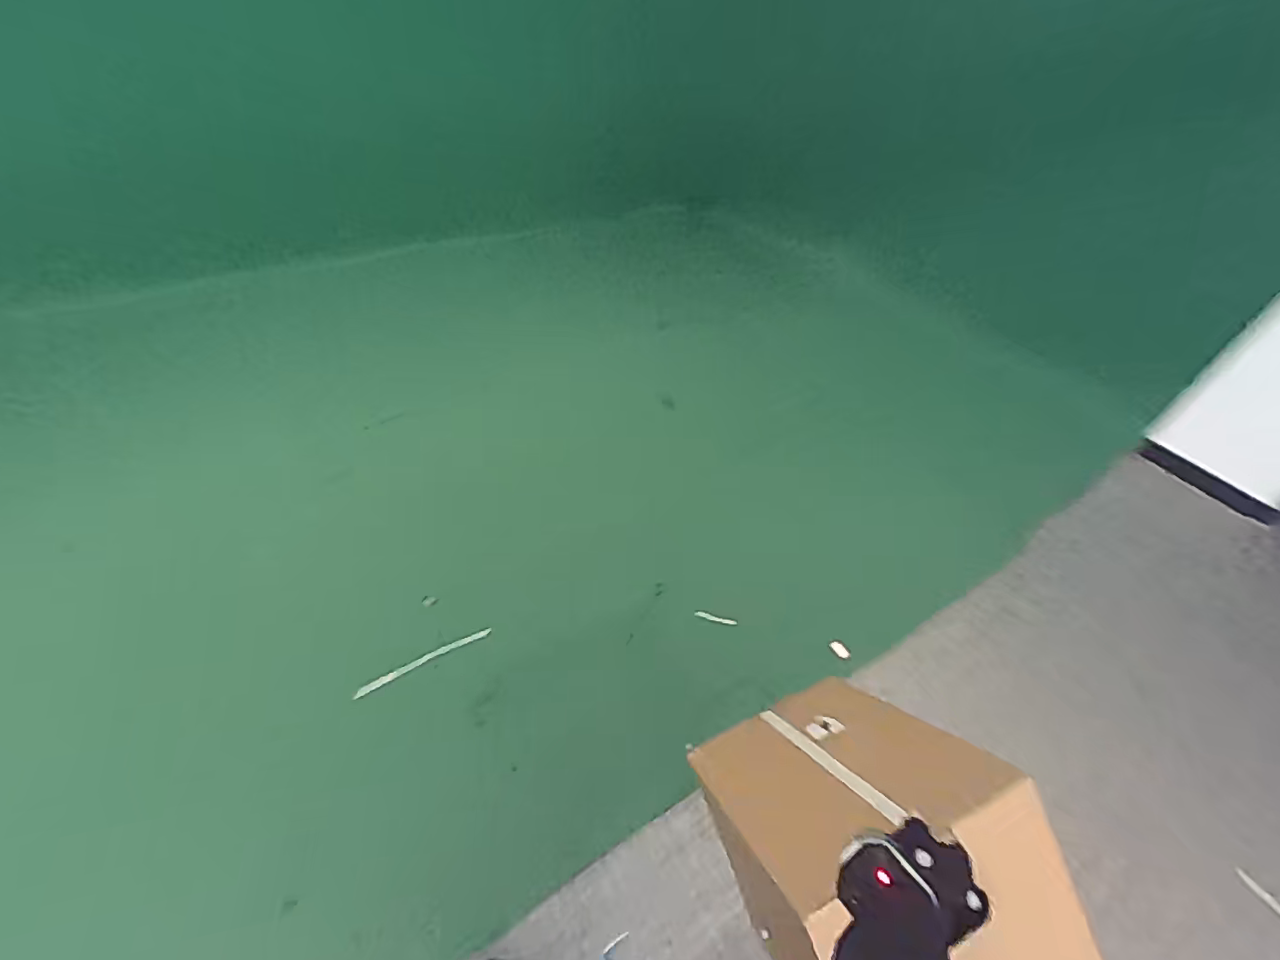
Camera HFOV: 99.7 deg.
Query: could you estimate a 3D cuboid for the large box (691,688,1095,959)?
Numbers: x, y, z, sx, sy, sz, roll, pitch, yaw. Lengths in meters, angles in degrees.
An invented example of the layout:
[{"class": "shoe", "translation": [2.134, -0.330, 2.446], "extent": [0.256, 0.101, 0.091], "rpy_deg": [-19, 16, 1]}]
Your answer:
[{"class": "large box", "translation": [0.323, 0.559, 0.781], "extent": [0.320, 0.408, 0.320], "rpy_deg": [-20, 89, -13]}]
